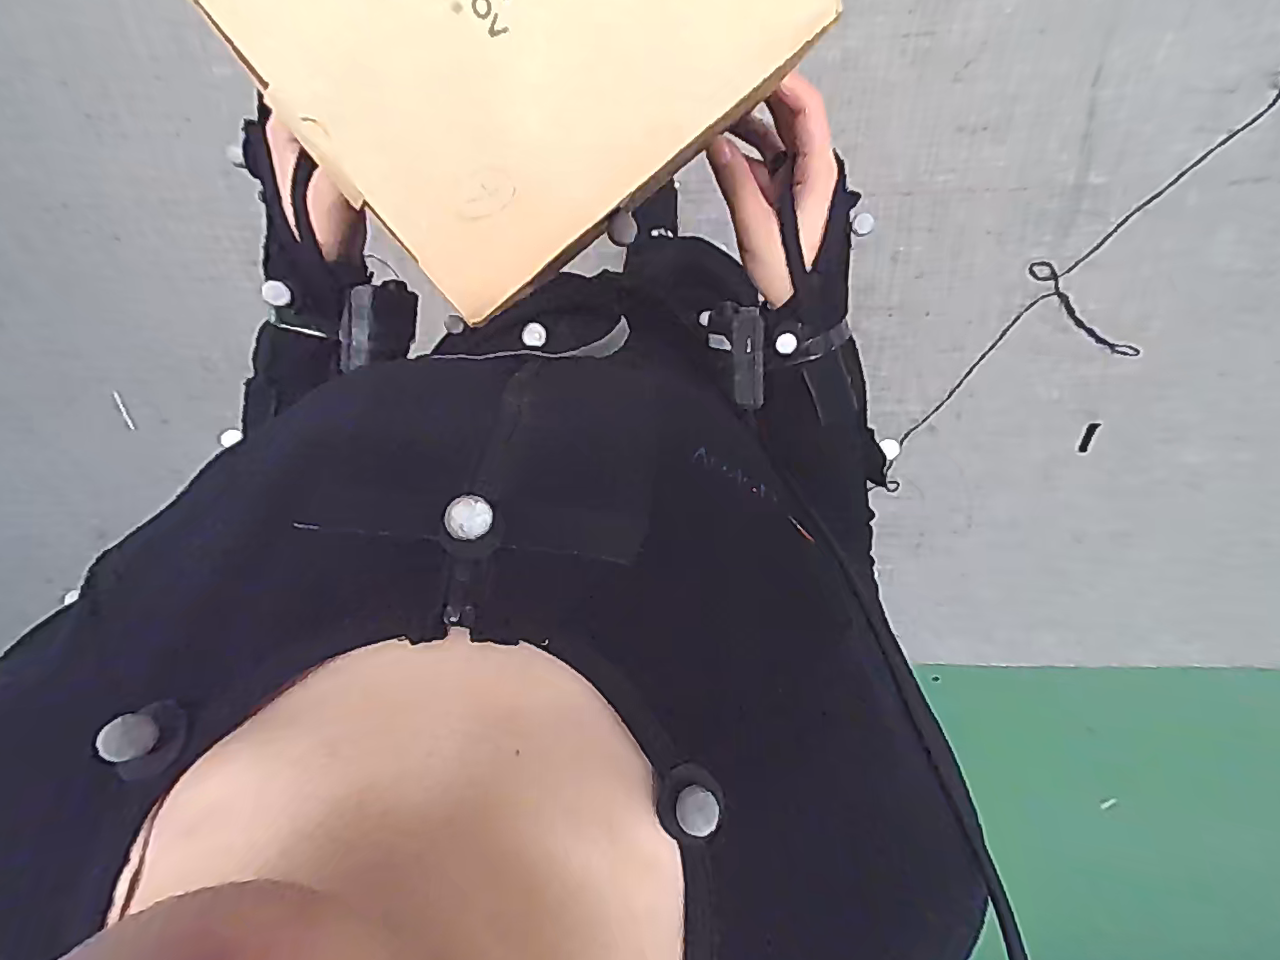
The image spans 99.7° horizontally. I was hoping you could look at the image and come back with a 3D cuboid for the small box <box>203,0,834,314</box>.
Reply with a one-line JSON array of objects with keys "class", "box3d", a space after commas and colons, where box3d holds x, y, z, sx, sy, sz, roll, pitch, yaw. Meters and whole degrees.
[{"class": "small box", "box3d": [-0.046, -0.205, 0.249, 0.179, 0.176, 0.168, -33, 111, 16]}]
